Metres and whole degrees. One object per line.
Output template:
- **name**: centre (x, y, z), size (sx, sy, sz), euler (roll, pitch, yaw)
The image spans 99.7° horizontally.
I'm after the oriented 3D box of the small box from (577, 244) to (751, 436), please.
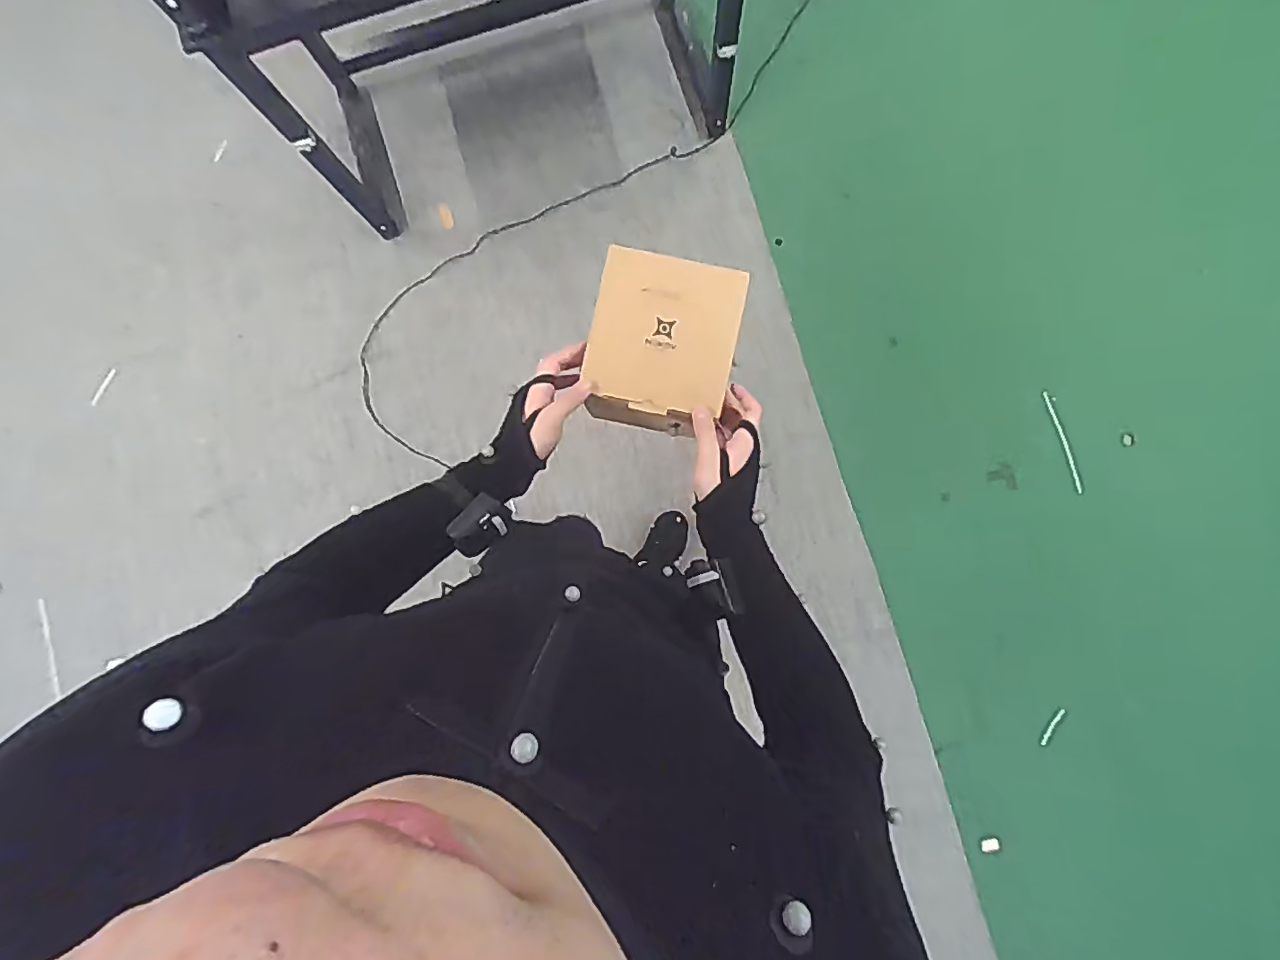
- **small box**: centre (0.028, -0.160, 0.680), size (0.168, 0.176, 0.179), euler (12, 87, 1)
